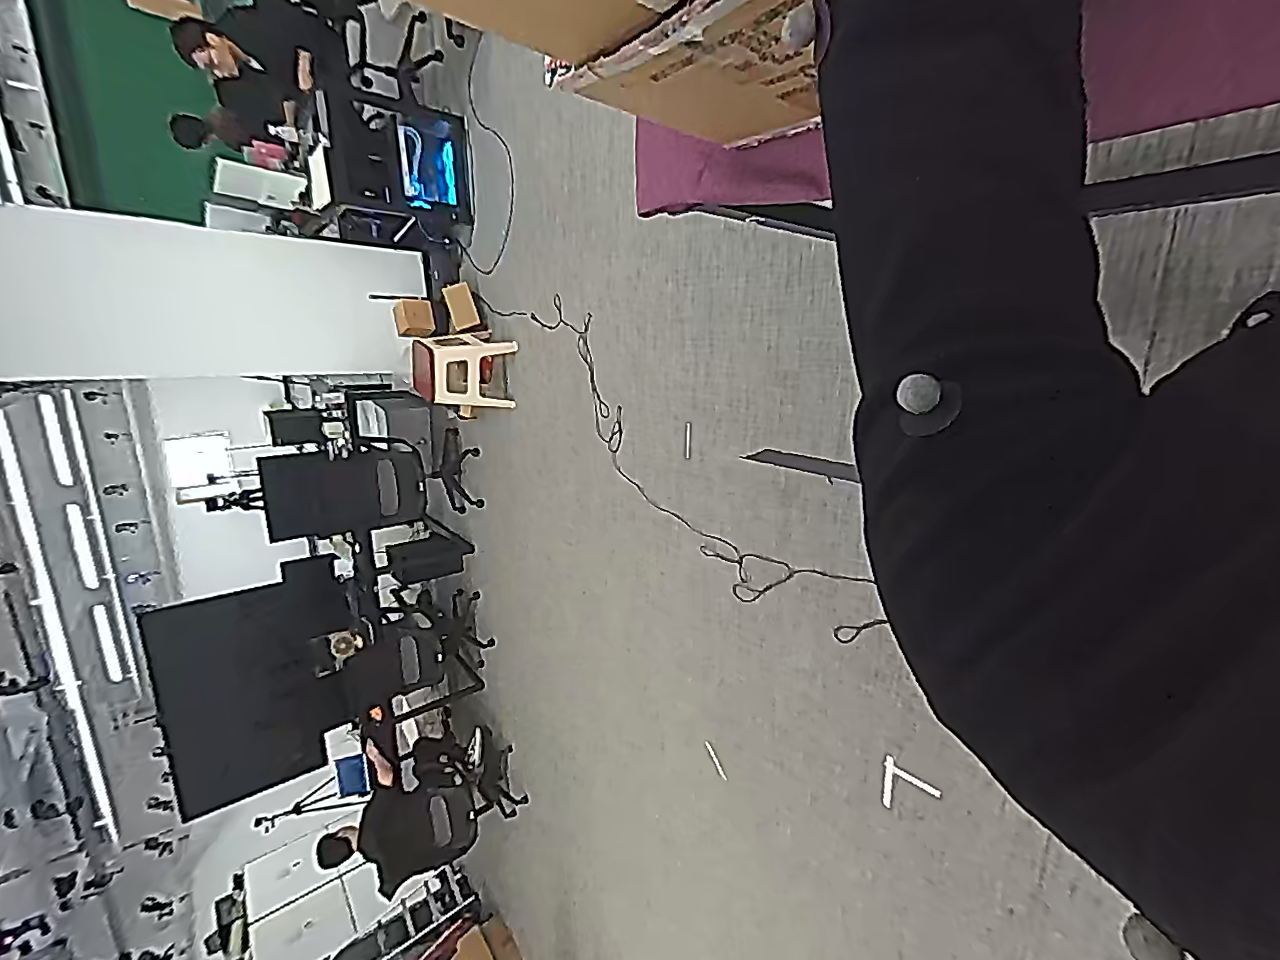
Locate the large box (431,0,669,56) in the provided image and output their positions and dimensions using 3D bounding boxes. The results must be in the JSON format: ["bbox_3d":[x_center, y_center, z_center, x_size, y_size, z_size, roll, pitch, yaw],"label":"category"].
[{"bbox_3d":[-0.083,-0.603,0.345,0.320,0.320,0.408,17,112,51],"label":"large box"}]
